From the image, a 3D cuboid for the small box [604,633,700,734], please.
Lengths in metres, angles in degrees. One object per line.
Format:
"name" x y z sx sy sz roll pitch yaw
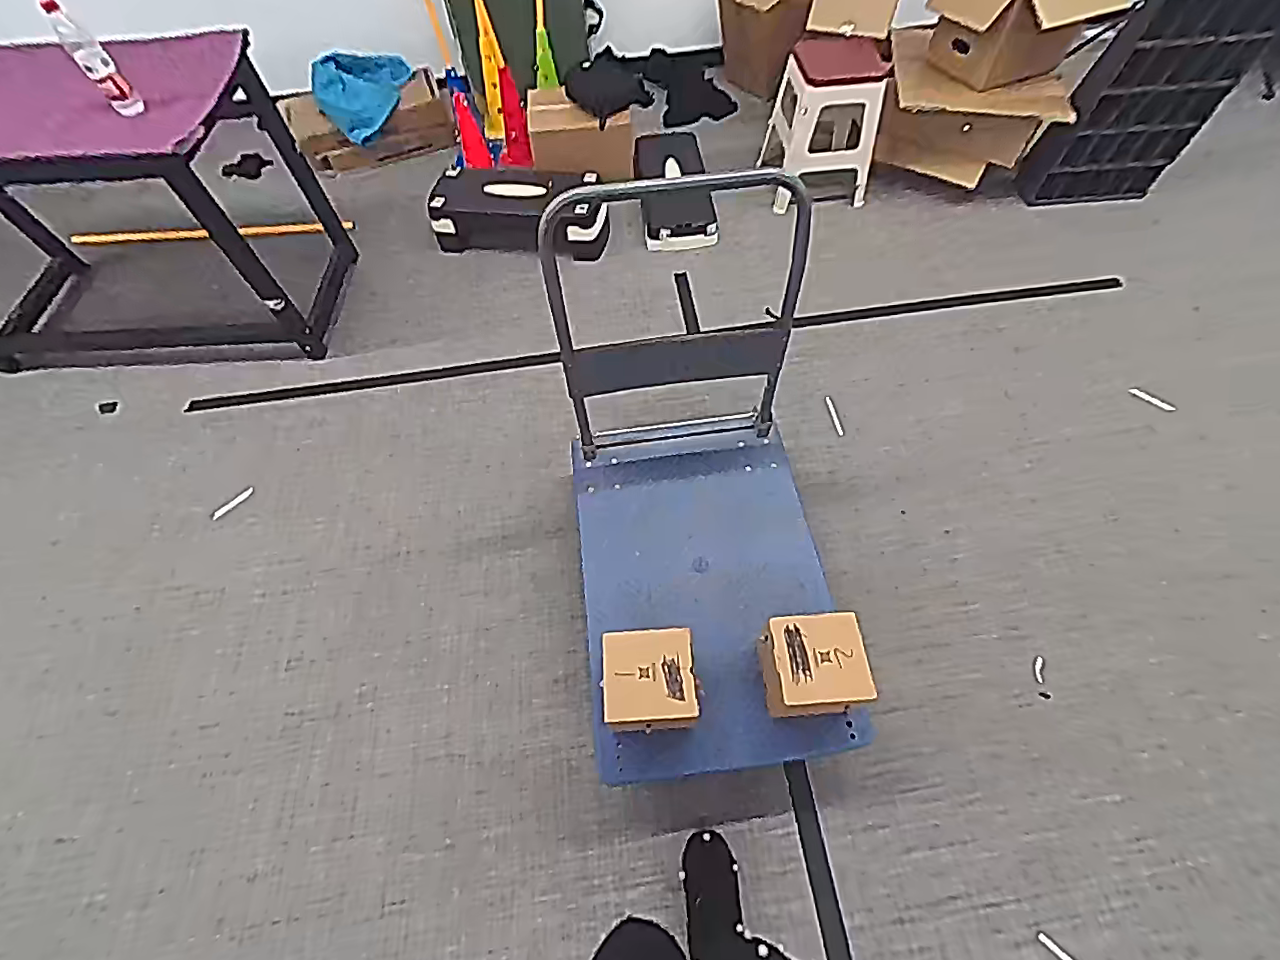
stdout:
"small box" 0.022 0.416 1.096 0.179 0.176 0.168 -4 60 1
